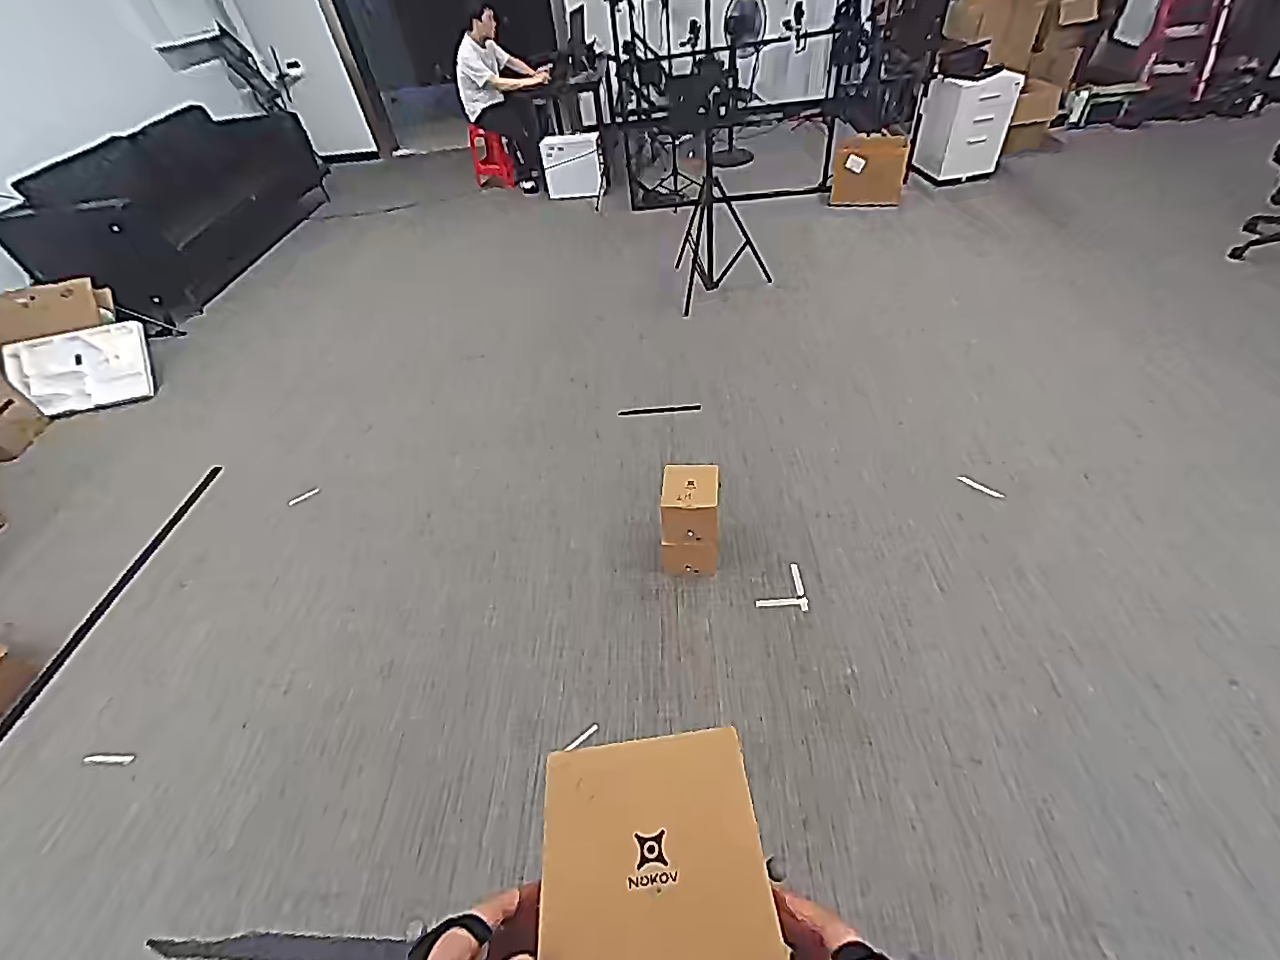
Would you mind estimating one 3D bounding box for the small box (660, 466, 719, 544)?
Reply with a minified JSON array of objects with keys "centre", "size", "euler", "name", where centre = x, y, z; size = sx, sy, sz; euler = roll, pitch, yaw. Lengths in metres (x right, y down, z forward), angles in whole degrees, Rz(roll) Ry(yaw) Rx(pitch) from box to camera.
[{"centre":[0.156,0.075,1.663],"size":[0.168,0.176,0.179],"euler":[0,46,9],"name":"small box"}]
